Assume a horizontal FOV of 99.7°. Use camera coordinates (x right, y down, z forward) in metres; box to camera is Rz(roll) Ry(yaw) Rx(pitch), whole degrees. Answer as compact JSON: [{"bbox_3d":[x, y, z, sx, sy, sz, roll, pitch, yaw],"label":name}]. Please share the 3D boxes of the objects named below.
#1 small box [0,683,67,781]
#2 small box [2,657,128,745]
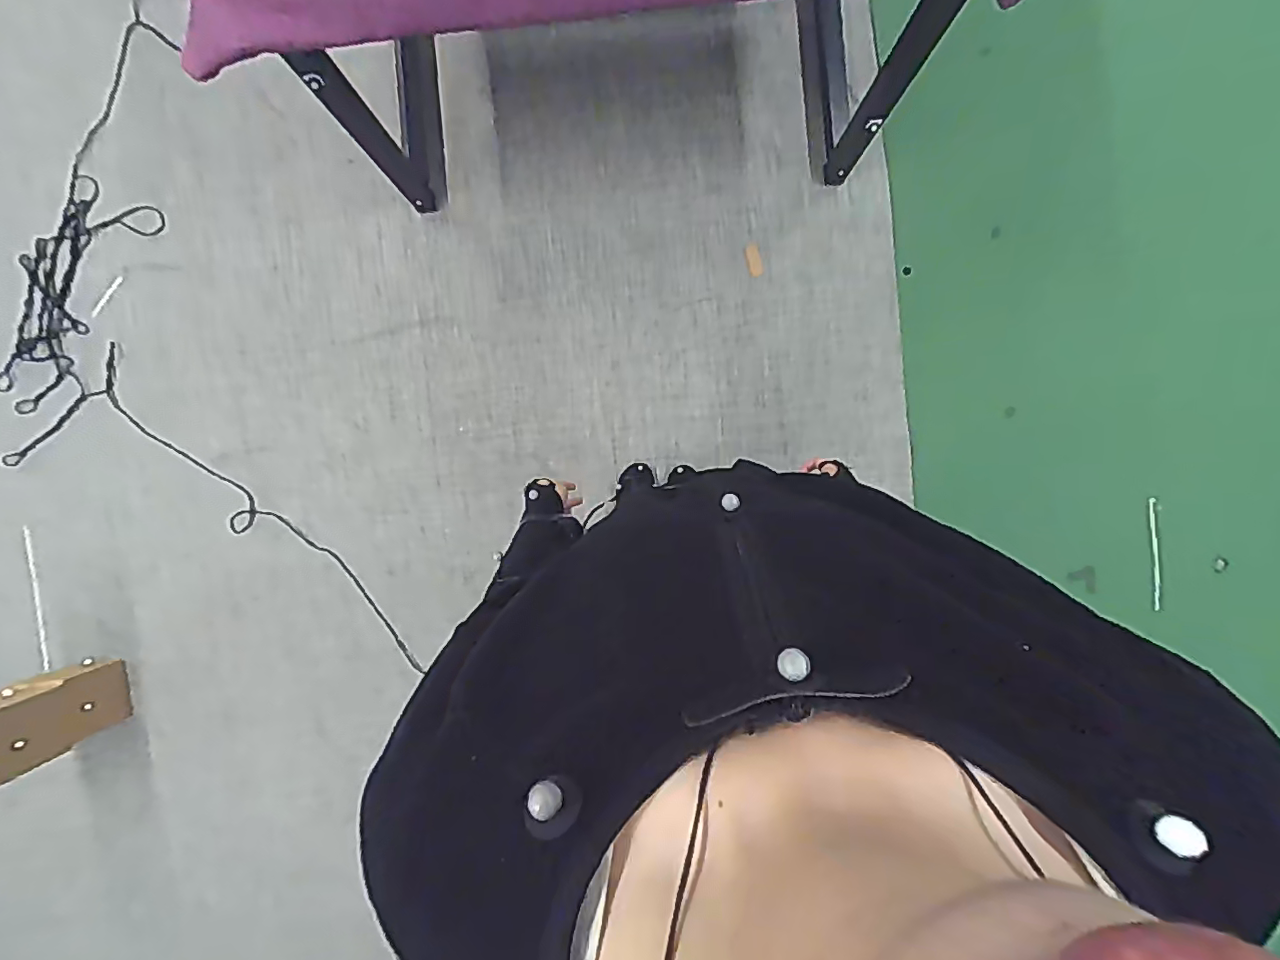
[{"bbox_3d":[-1.547,0.614,1.302,0.168,0.176,0.179,-6,91,0],"label":"small box"},{"bbox_3d":[-1.546,0.600,1.466,0.168,0.176,0.179,-7,91,1],"label":"small box"}]
